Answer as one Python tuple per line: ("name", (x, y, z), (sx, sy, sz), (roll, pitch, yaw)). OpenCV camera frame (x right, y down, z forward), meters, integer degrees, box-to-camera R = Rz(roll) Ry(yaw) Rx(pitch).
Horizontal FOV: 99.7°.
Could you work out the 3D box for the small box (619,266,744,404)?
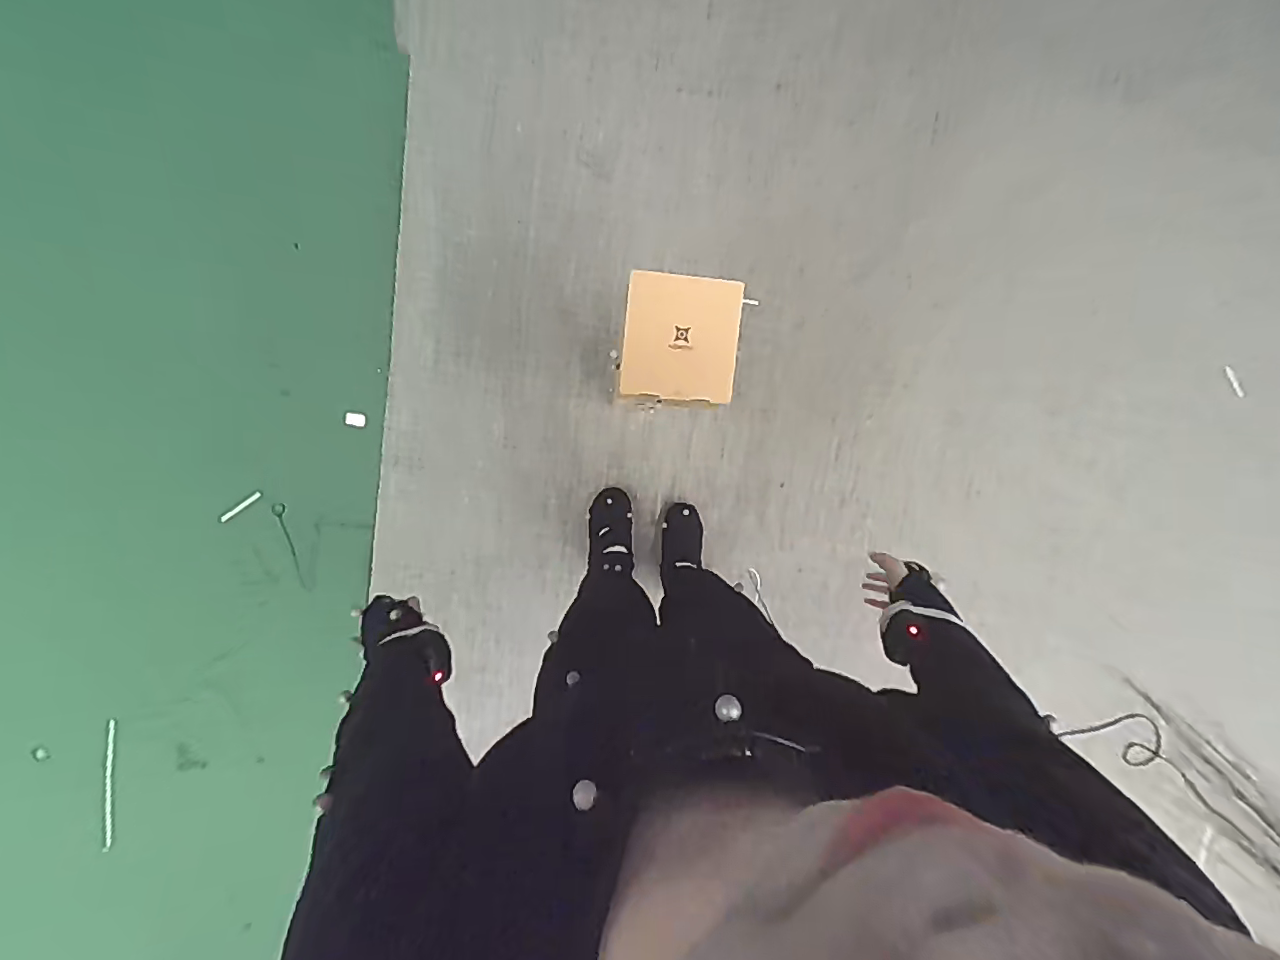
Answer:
("small box", (0.056, -0.217, 0.855), (0.168, 0.176, 0.179), (5, 96, -3))
